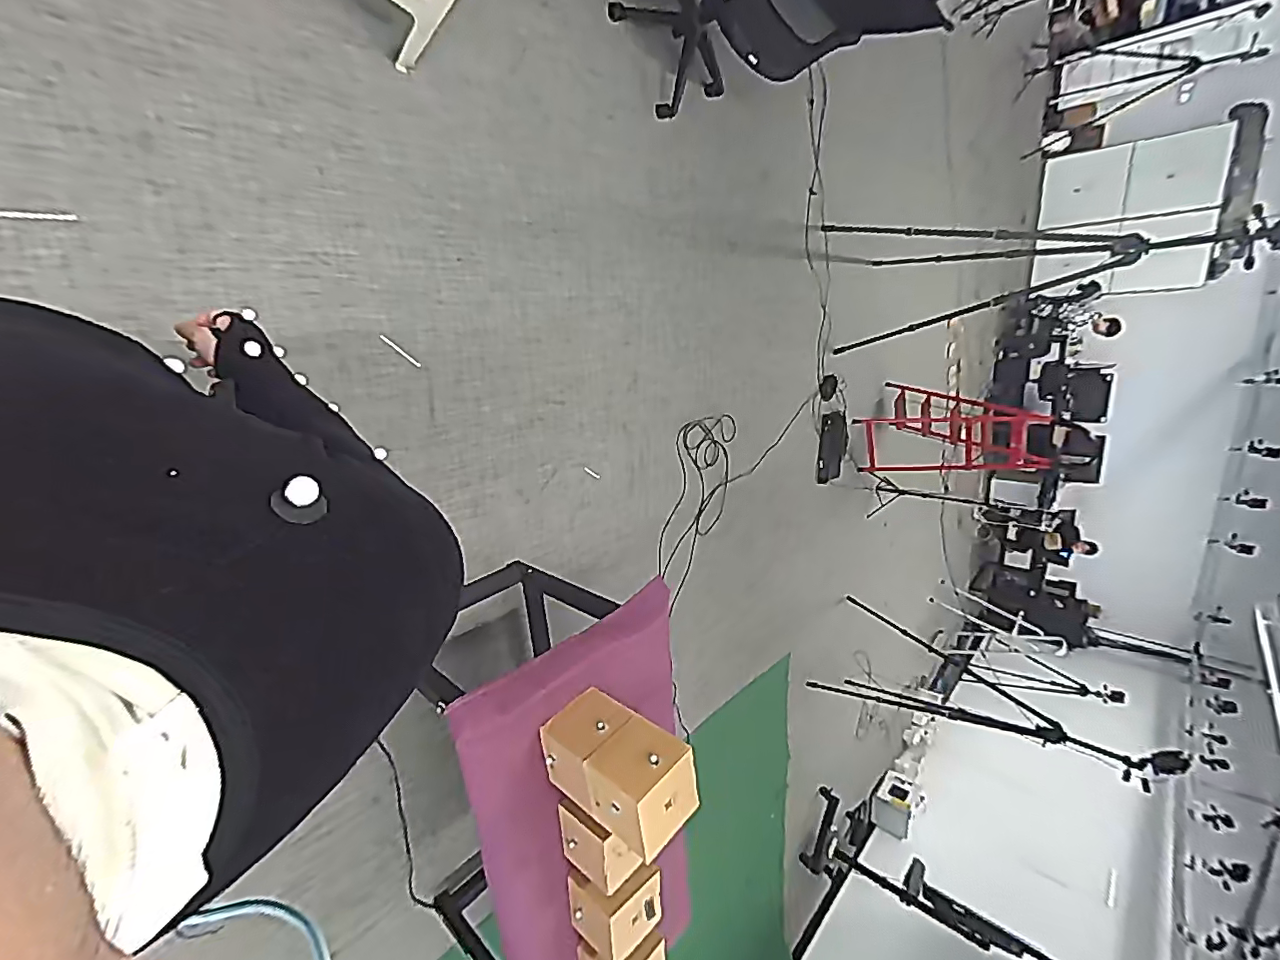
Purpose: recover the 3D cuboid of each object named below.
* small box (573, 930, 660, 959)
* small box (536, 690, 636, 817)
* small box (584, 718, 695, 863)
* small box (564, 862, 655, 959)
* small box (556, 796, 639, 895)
[{"bbox_3d":[-0.062,1.333,1.490,0.179,0.176,0.168,-17,110,-44],"label":"small box"},{"bbox_3d":[-0.119,0.636,1.283,0.179,0.176,0.168,-25,115,-41],"label":"small box"},{"bbox_3d":[-0.006,0.660,1.171,0.179,0.176,0.168,-25,115,-42],"label":"small box"},{"bbox_3d":[-0.078,1.098,1.424,0.179,0.176,0.168,-16,109,-43],"label":"small box"},{"bbox_3d":[-0.089,0.871,1.364,0.179,0.176,0.168,-18,111,-43],"label":"small box"}]
